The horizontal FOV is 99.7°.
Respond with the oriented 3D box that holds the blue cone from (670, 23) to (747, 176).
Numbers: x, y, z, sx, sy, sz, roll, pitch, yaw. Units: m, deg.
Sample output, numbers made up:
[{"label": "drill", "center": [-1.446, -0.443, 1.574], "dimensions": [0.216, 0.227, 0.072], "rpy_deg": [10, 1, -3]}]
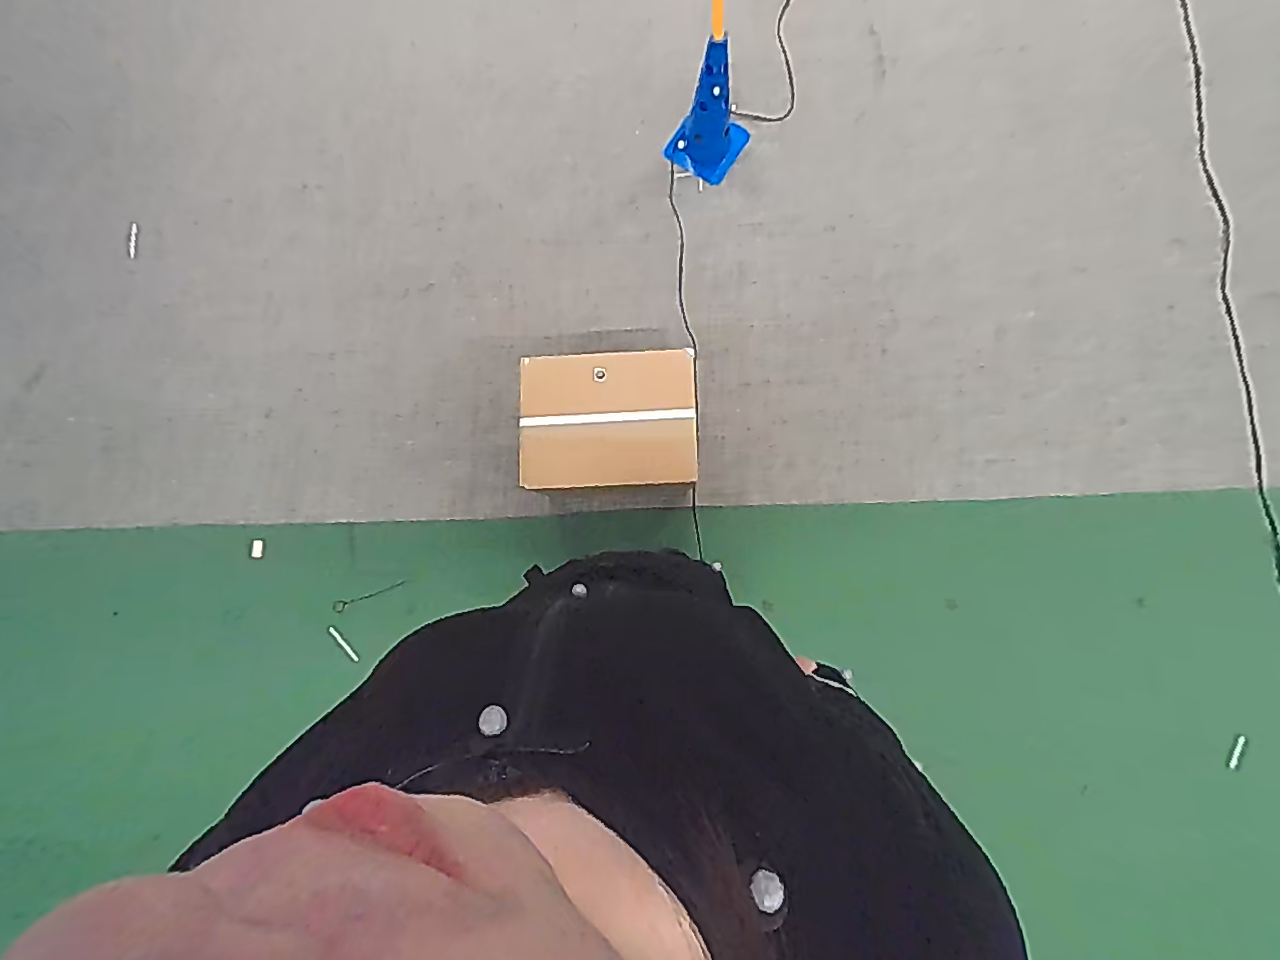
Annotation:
[{"label": "blue cone", "center": [0.193, -1.013, 1.425], "dimensions": [0.192, 0.380, 0.193], "rpy_deg": [31, 88, 5]}]
